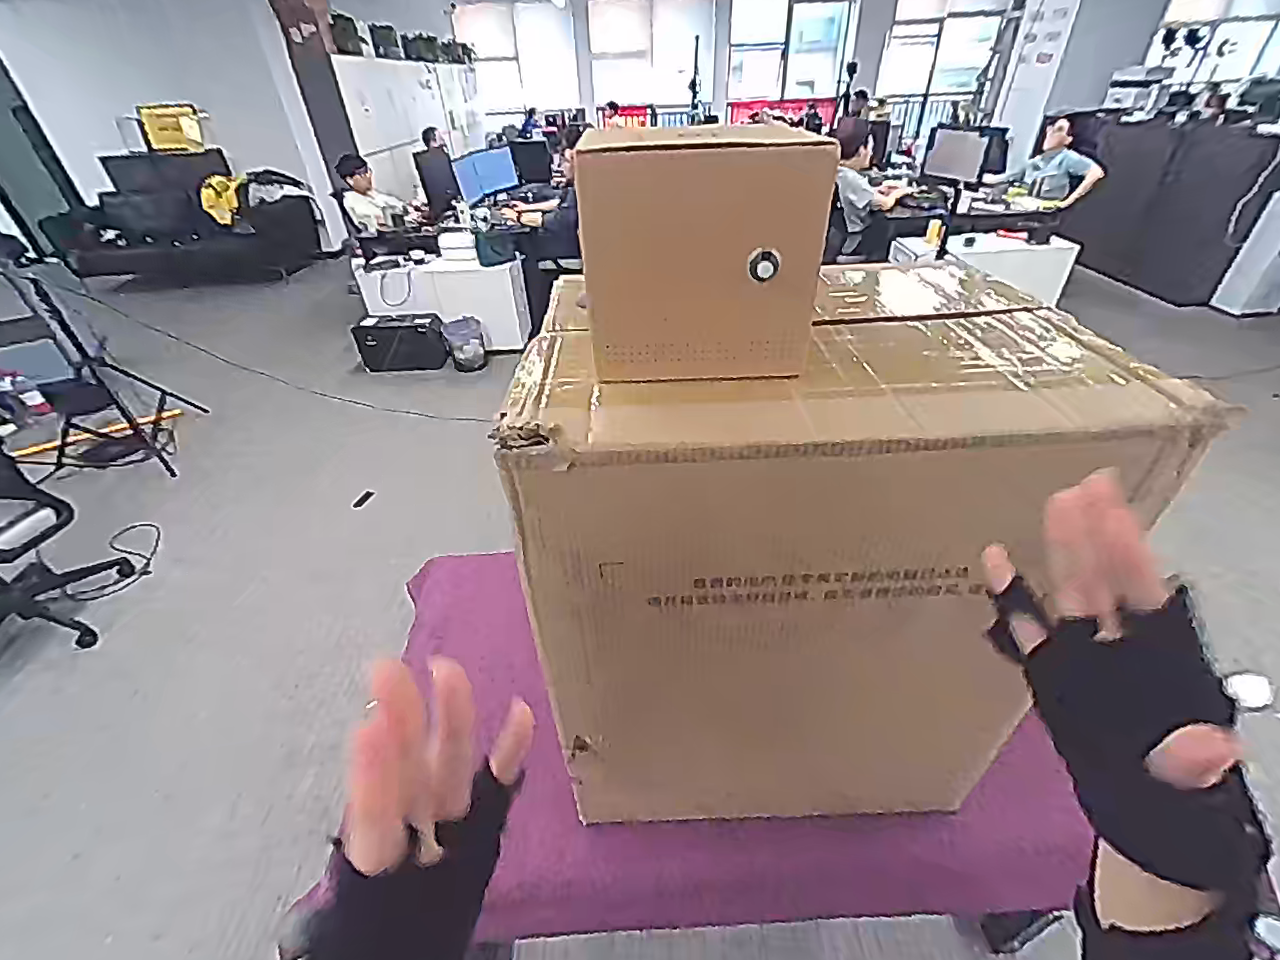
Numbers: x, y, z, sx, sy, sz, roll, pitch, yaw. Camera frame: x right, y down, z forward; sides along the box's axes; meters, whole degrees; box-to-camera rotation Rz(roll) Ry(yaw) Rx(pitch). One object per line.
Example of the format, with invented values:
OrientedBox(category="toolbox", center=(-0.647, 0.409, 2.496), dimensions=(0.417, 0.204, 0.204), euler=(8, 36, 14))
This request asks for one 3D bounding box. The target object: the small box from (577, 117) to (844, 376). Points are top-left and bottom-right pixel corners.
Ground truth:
OrientedBox(category="small box", center=(0.047, -0.199, 0.458), dimensions=(0.179, 0.176, 0.168), euler=(-3, 36, 0))
